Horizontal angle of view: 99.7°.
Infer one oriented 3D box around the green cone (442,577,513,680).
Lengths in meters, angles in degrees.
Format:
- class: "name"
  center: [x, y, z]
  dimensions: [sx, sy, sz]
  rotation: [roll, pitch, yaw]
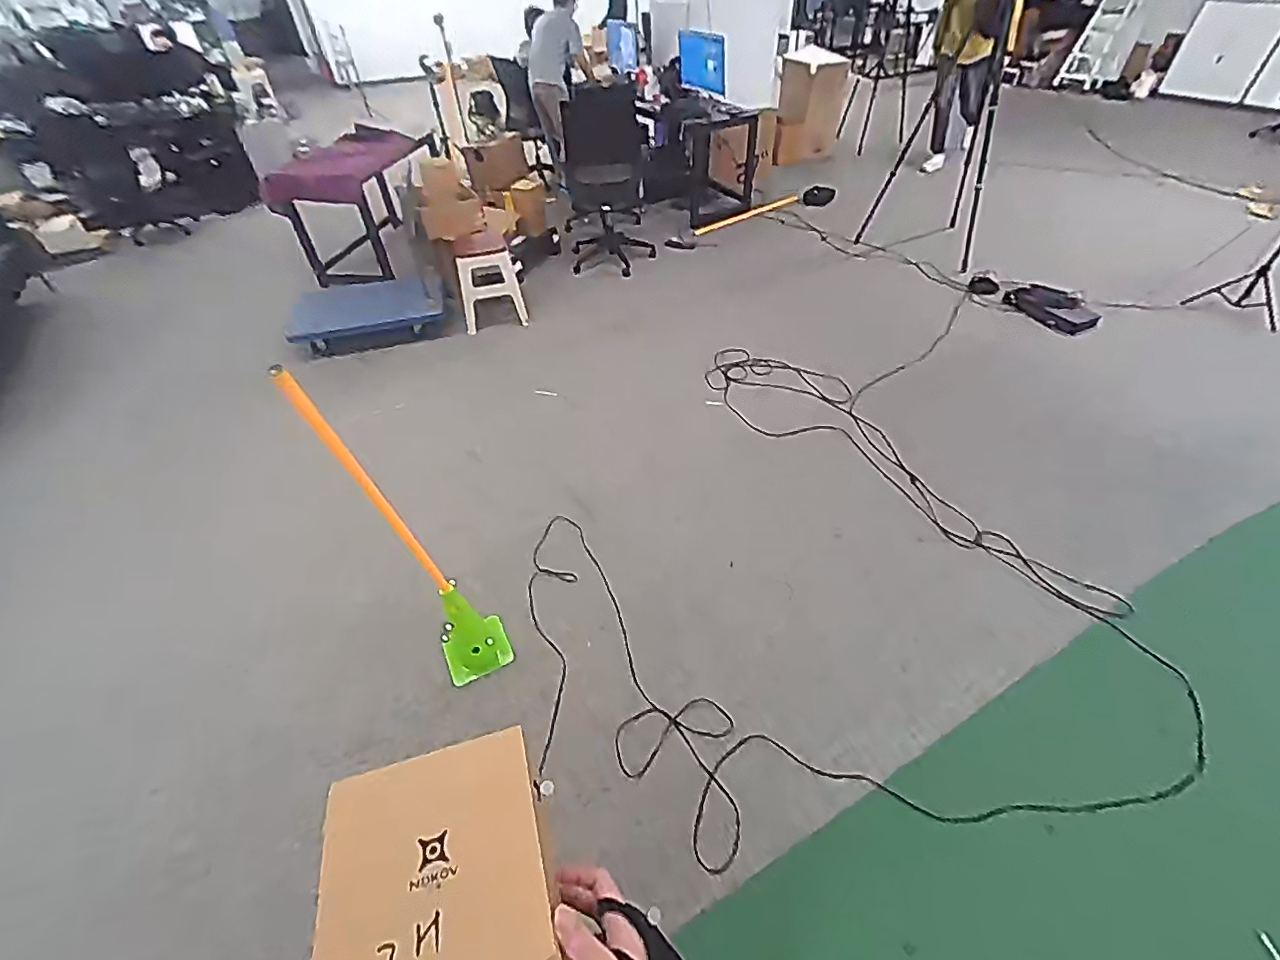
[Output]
- class: "green cone"
  center: [-0.549, 0.429, 1.689]
  dimensions: [0.202, 0.368, 0.200]
  rotation: [-22, 48, -19]
